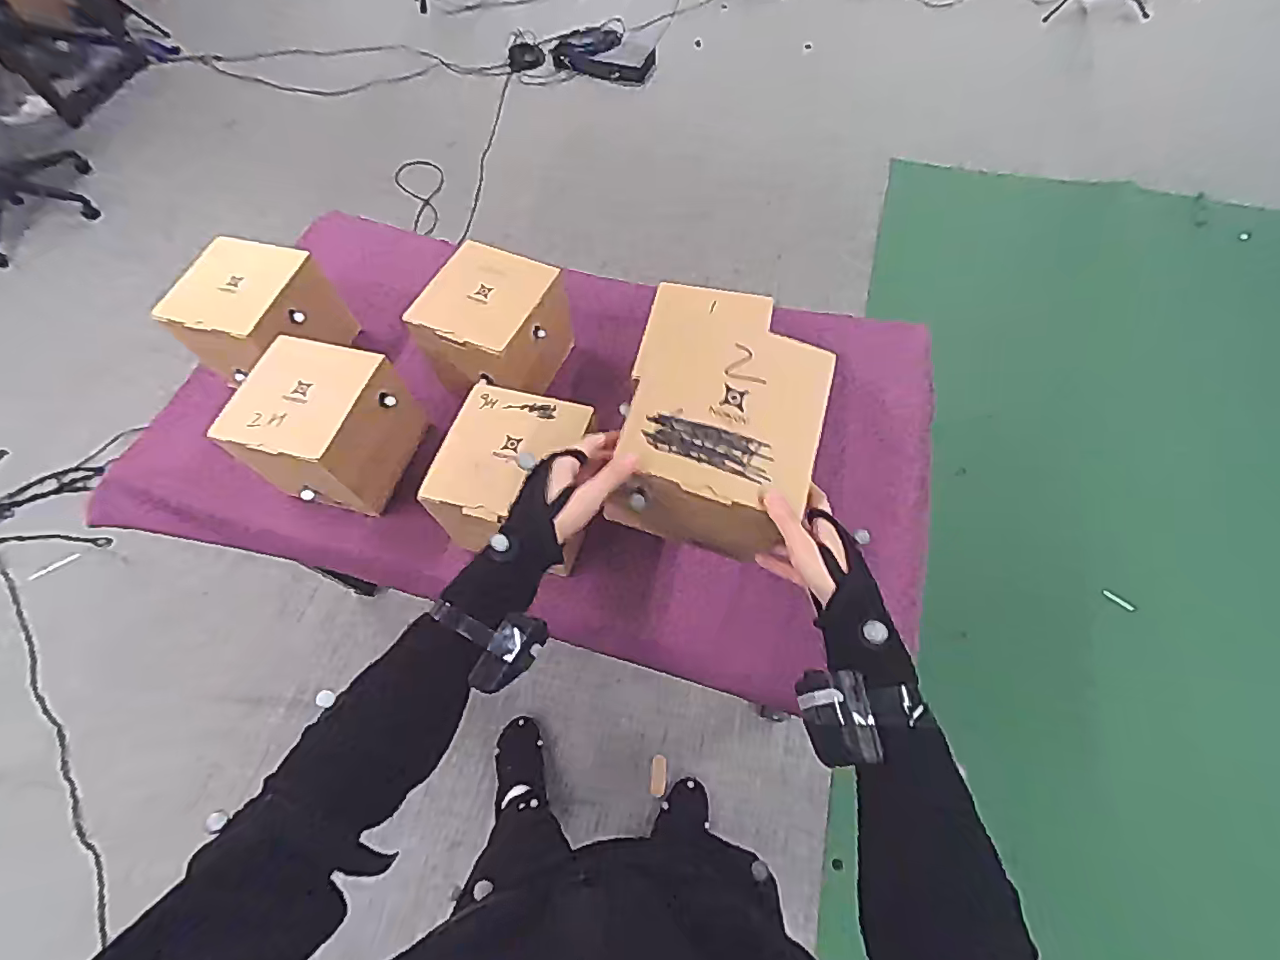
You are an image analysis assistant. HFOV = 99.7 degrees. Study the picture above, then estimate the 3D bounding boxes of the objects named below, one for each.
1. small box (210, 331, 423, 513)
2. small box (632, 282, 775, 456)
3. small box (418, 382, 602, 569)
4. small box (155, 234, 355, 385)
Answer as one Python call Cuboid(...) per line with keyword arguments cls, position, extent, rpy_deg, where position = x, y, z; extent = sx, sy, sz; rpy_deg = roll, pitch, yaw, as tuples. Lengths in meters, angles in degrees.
Cuboid(cls="small box", position=(-0.438, -0.078, 0.773), extent=(0.168, 0.176, 0.179), rpy_deg=(13, 64, 9))
Cuboid(cls="small box", position=(0.092, -0.157, 0.794), extent=(0.168, 0.176, 0.179), rpy_deg=(12, 62, 8))
Cuboid(cls="small box", position=(-0.155, 0.001, 0.721), extent=(0.168, 0.176, 0.179), rpy_deg=(14, 63, 9))
Cuboid(cls="small box", position=(-0.598, -0.258, 0.874), extent=(0.168, 0.176, 0.179), rpy_deg=(13, 65, 8))
